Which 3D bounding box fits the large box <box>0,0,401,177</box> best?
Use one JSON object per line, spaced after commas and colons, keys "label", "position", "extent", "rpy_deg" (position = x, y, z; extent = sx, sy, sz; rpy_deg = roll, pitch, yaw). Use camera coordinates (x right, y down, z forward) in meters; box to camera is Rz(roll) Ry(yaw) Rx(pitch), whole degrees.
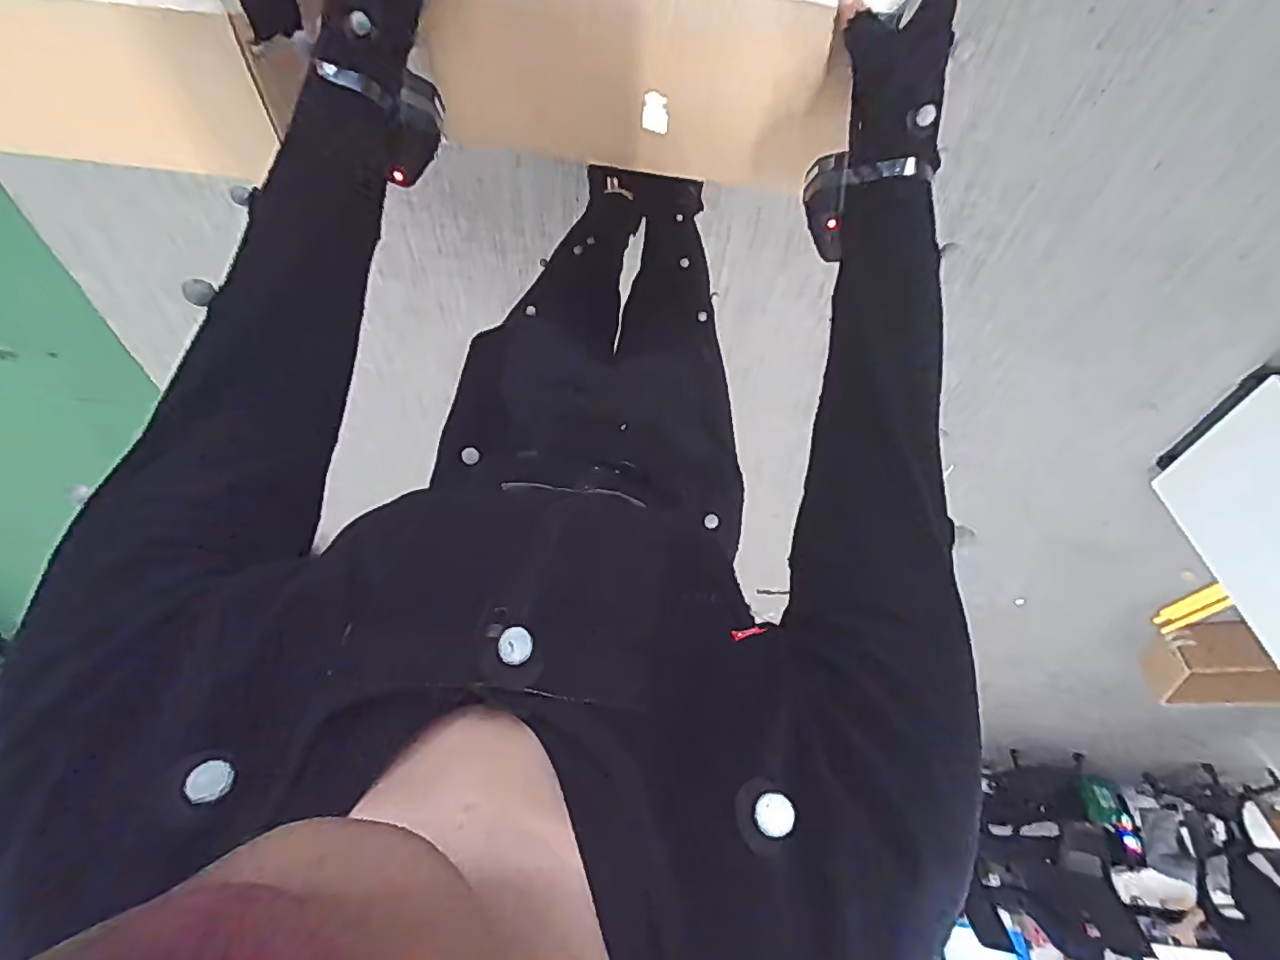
{"label": "large box", "position": [-0.542, -0.567, 0.568], "extent": [0.408, 0.320, 0.320], "rpy_deg": [9, 142, 1]}
